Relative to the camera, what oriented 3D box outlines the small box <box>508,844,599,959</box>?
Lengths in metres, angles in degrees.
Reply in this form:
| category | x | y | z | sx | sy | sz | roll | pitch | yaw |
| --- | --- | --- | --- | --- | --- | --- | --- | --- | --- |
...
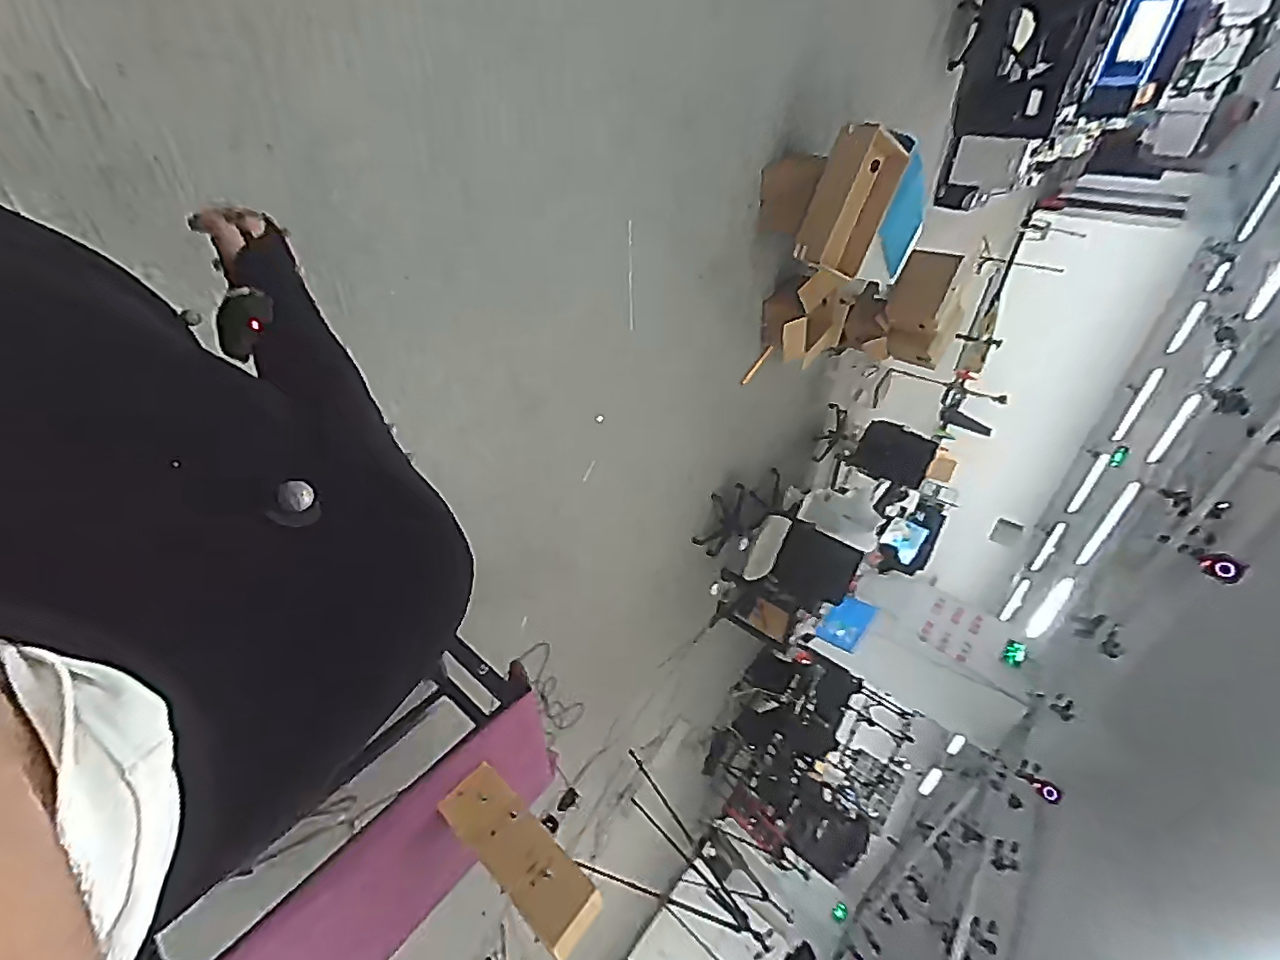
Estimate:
| category | x | y | z | sx | sy | sz | roll | pitch | yaw |
| --- | --- | --- | --- | --- | --- | --- | --- | --- | --- |
| small box | -0.229 | 1.122 | 1.441 | 0.168 | 0.176 | 0.179 | -37 | 141 | -36 |

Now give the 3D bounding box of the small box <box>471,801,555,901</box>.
| category | x | y | z | sx | sy | sz | roll | pitch | yaw |
| --- | --- | --- | --- | --- | --- | --- | --- | --- | --- |
| small box | -0.351 | 1.049 | 1.520 | 0.168 | 0.176 | 0.179 | -37 | 142 | -36 |

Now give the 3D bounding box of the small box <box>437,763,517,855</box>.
| category | x | y | z | sx | sy | sz | roll | pitch | yaw |
| --- | --- | --- | --- | --- | --- | --- | --- | --- | --- |
| small box | -0.476 | 0.984 | 1.606 | 0.168 | 0.176 | 0.179 | -38 | 142 | -35 |
